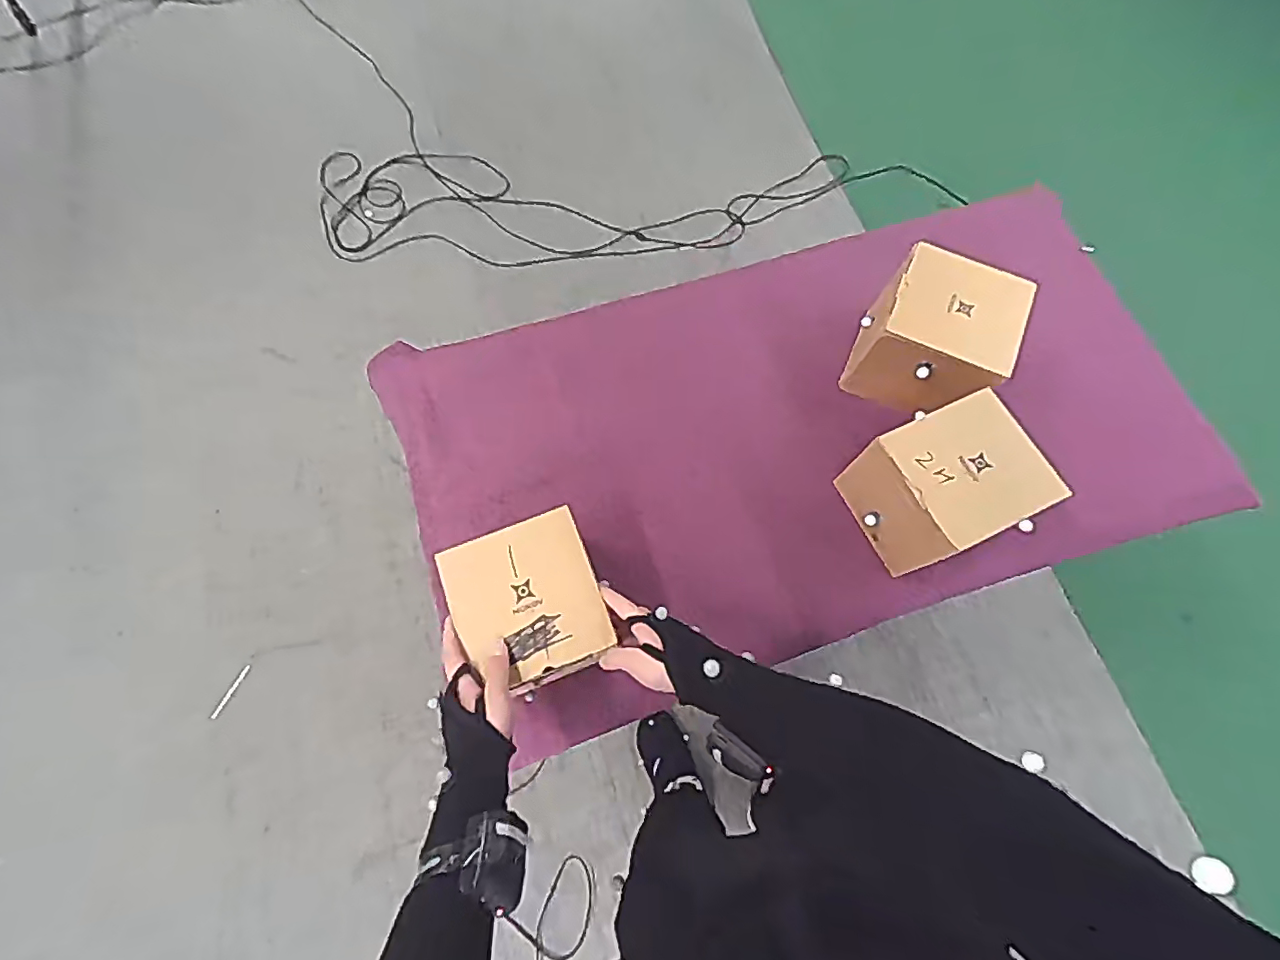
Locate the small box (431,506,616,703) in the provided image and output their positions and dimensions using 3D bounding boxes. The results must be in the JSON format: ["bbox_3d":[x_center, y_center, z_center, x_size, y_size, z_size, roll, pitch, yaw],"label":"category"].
[{"bbox_3d":[-0.134,0.158,0.678,0.168,0.176,0.179,-20,71,-7],"label":"small box"}]

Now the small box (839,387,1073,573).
[{"bbox_3d":[0.405,0.008,0.730,0.179,0.176,0.168,-23,72,-8],"label":"small box"}]

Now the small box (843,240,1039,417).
[{"bbox_3d":[0.435,-0.211,0.805,0.179,0.176,0.168,24,74,8],"label":"small box"}]
